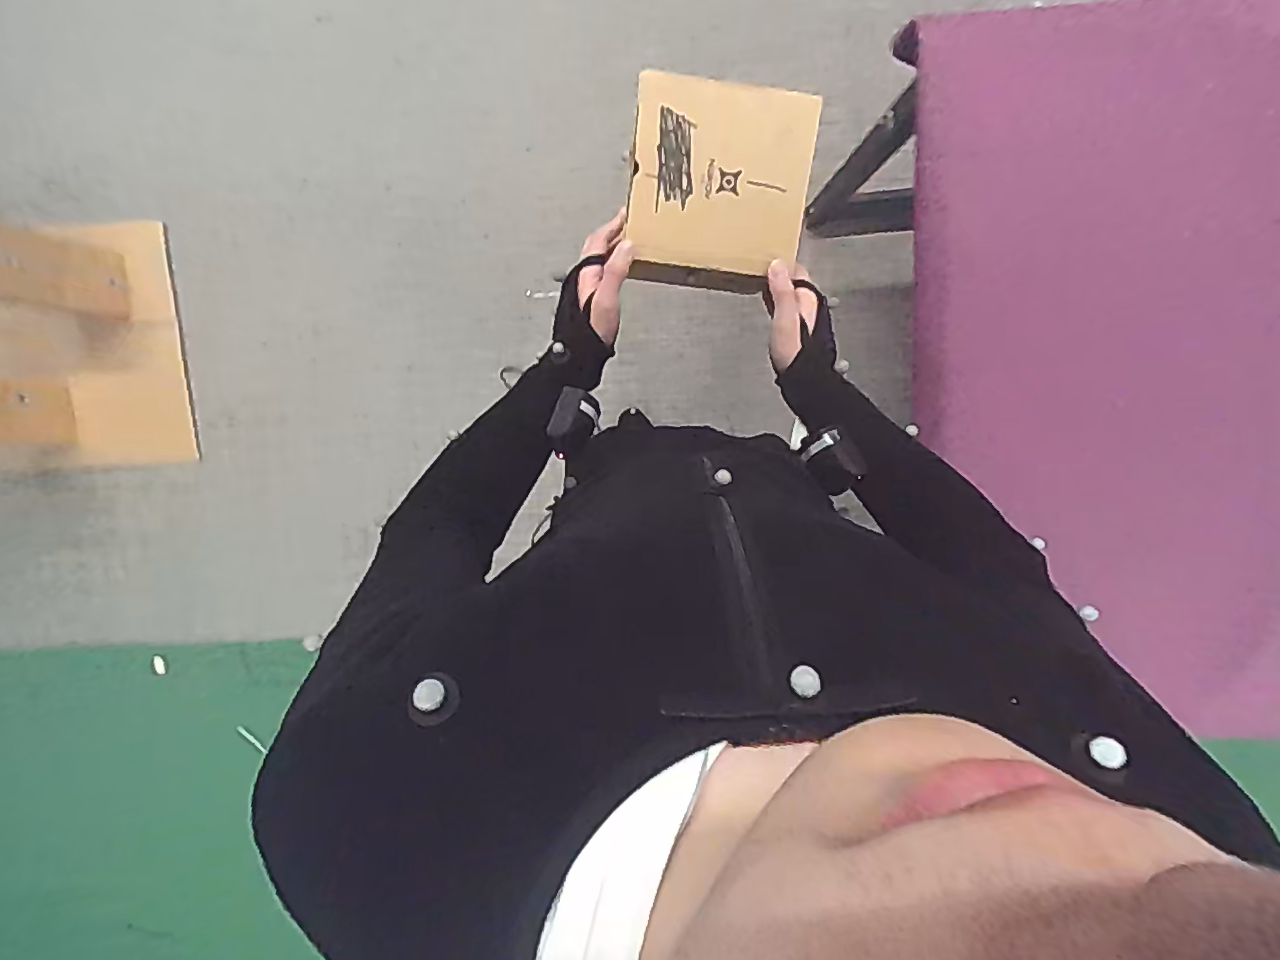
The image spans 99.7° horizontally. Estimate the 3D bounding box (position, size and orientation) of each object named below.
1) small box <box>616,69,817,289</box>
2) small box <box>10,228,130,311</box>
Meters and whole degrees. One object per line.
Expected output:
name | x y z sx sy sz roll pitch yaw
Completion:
small box | 0.069 -0.311 0.597 0.179 0.176 0.168 6 104 -4
small box | -1.539 -0.564 1.458 0.168 0.176 0.179 0 98 0
